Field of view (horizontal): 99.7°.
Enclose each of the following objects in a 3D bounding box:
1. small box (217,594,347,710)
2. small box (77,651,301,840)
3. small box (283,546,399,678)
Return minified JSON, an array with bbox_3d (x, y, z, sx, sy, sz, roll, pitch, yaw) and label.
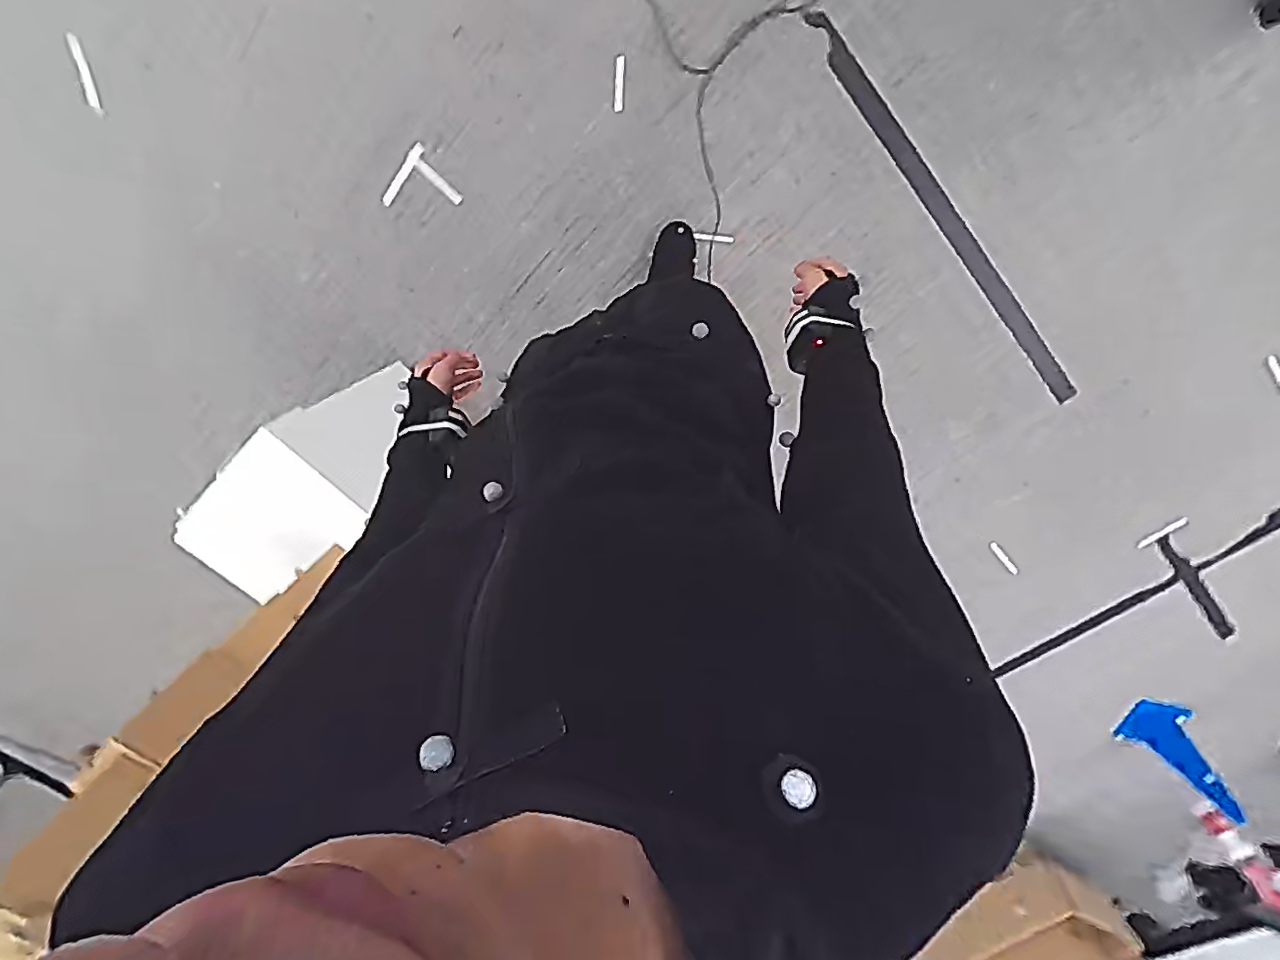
[{"bbox_3d":[-0.676,0.342,0.987,0.179,0.176,0.168,-39,107,21],"label":"small box"},{"bbox_3d":[-0.675,0.402,0.833,0.168,0.176,0.179,-40,107,20],"label":"small box"},{"bbox_3d":[-0.647,0.272,1.131,0.168,0.176,0.179,-41,106,20],"label":"small box"}]
